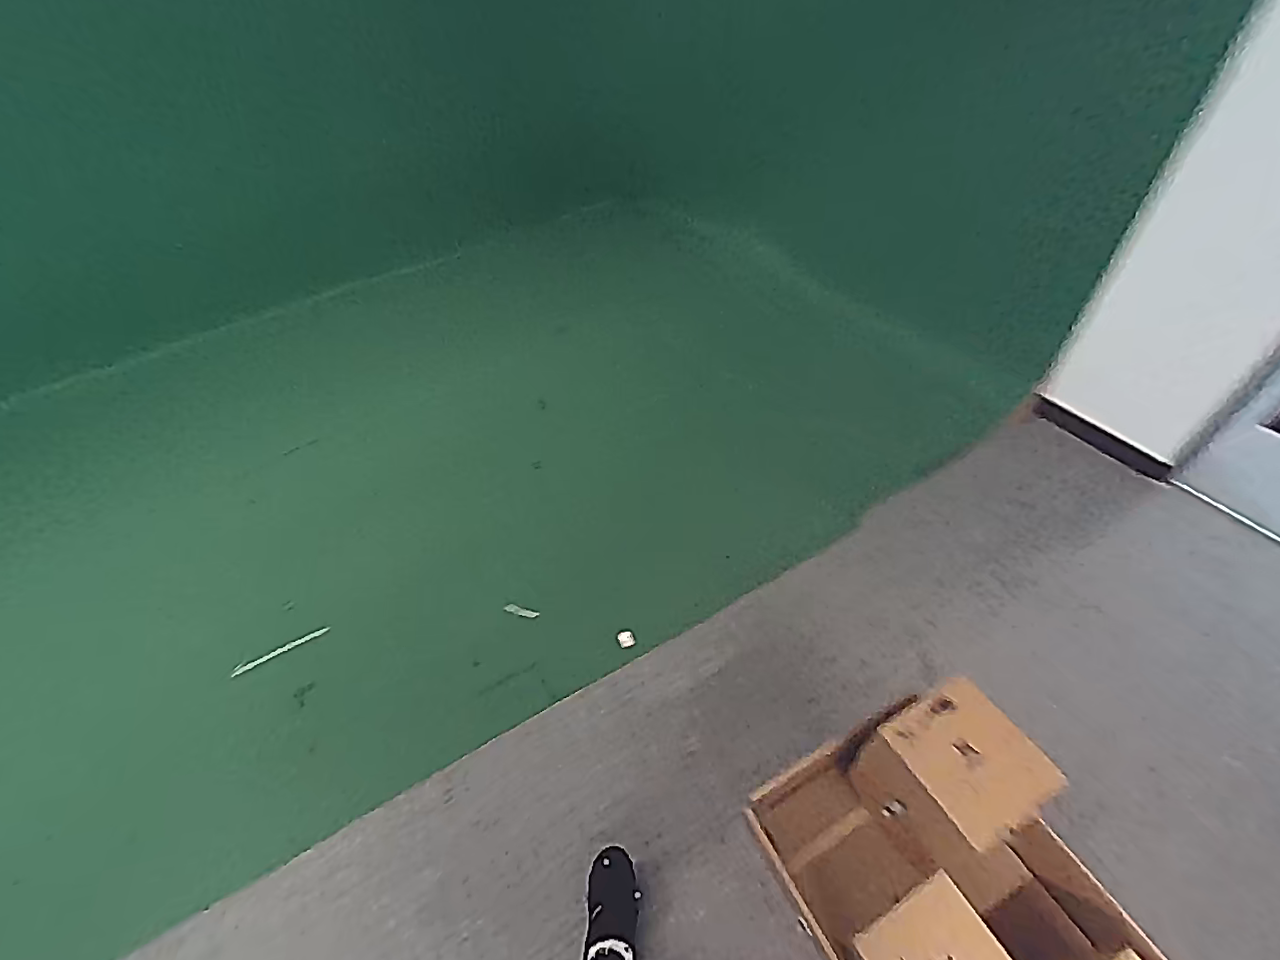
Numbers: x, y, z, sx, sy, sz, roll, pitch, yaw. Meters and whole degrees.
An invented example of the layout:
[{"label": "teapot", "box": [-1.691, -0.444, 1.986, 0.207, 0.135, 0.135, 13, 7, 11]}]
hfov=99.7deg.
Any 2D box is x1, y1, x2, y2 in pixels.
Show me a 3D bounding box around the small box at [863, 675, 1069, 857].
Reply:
[{"label": "small box", "box": [0.470, 0.432, 0.811, 0.168, 0.176, 0.179, -25, 52, -12]}]
